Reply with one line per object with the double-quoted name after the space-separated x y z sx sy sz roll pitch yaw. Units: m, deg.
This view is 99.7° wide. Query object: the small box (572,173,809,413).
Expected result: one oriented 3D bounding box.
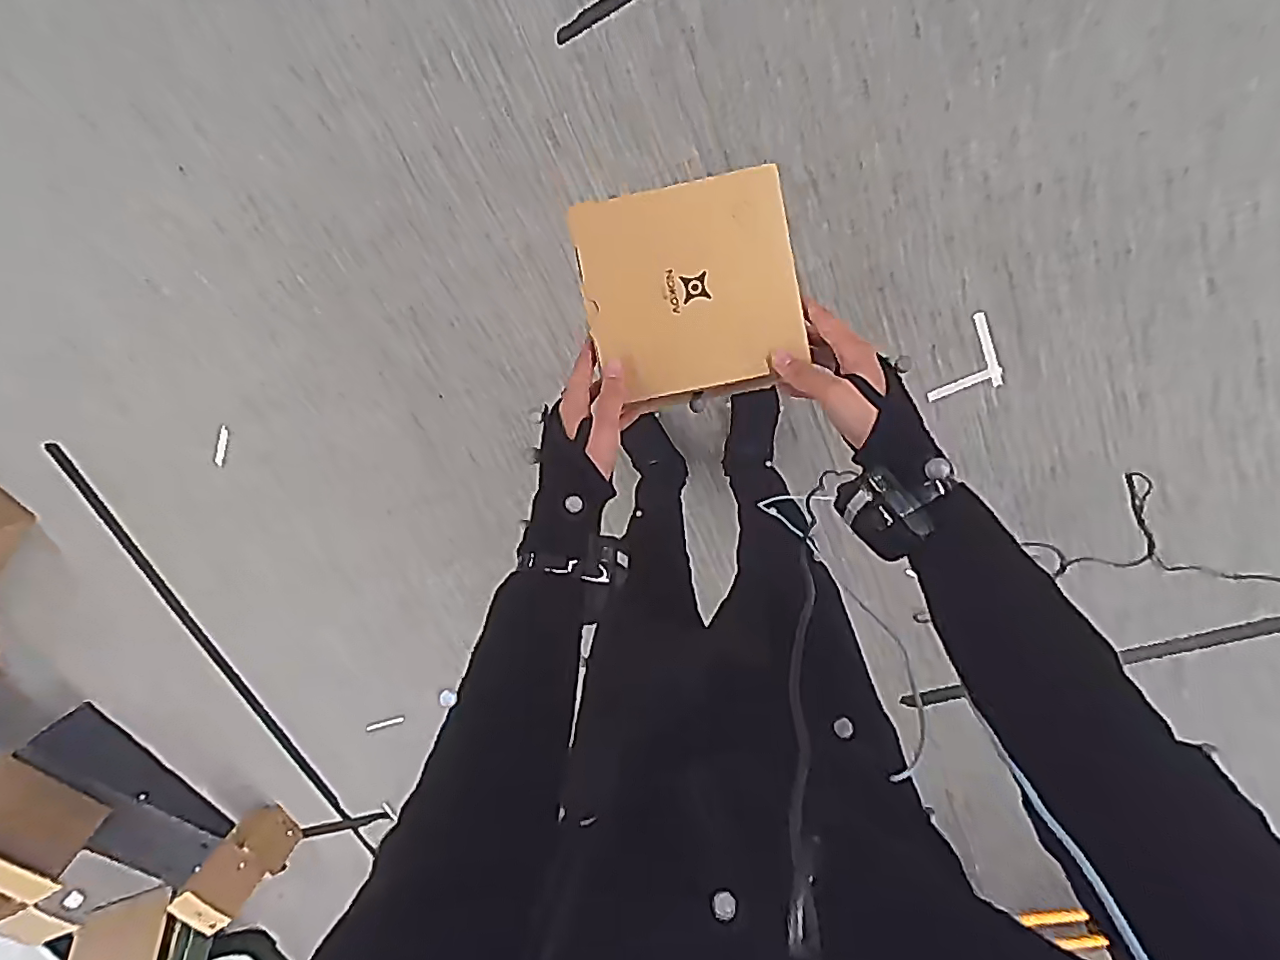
0.045 -0.162 0.526 0.179 0.176 0.168 -11 95 4 "small box"
